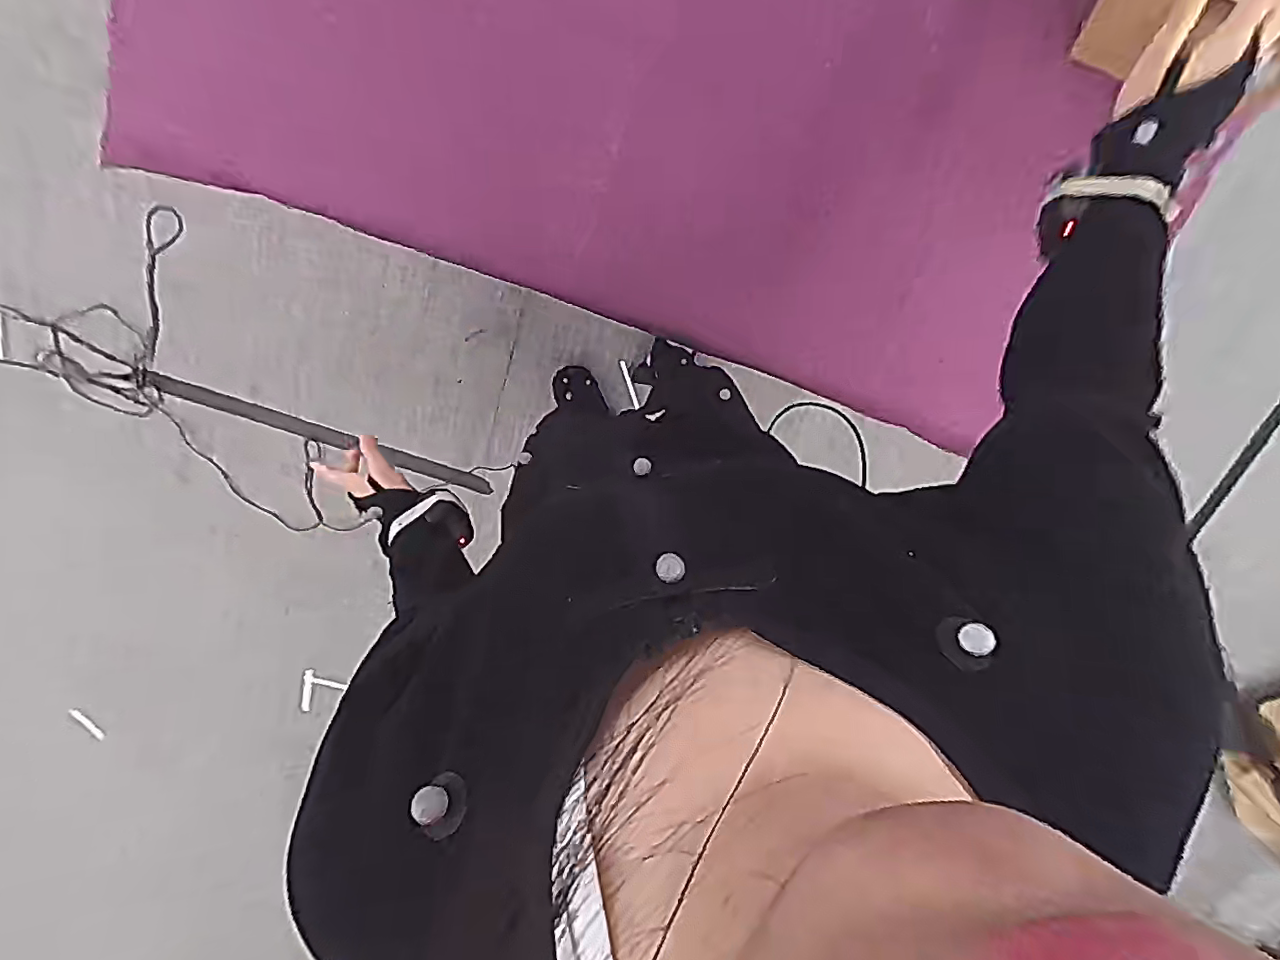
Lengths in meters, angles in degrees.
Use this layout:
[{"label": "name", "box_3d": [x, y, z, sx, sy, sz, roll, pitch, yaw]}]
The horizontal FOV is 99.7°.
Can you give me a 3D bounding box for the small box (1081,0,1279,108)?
[{"label": "small box", "box_3d": [0.577, -0.478, 0.498, 0.179, 0.176, 0.168, 19, 113, -8]}]
